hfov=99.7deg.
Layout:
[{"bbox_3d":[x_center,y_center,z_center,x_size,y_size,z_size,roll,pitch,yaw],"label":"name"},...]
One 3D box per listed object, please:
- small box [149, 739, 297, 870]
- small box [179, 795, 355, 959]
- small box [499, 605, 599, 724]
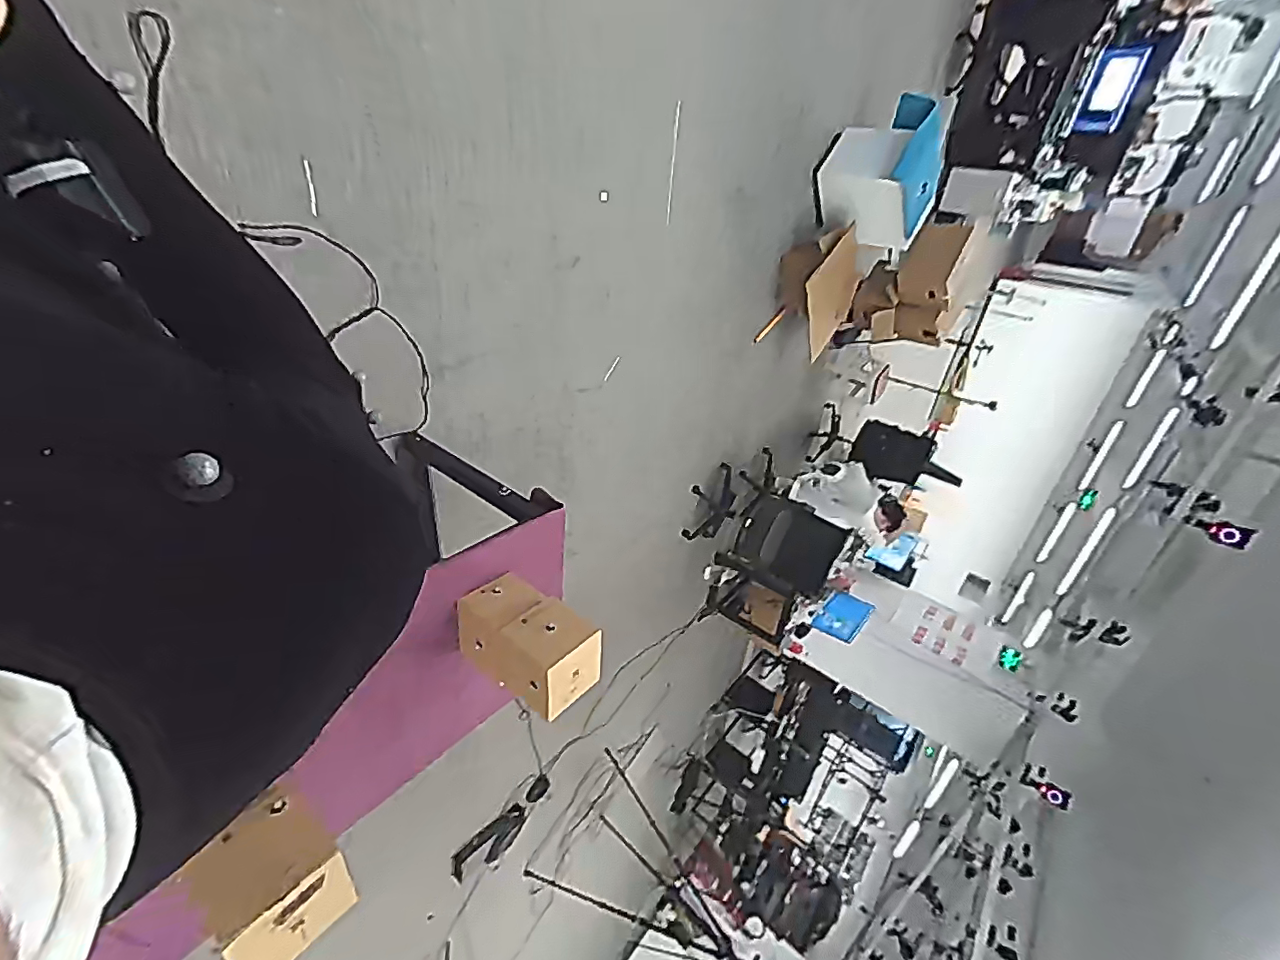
[{"bbox_3d":[-0.724,0.607,0.962,0.168,0.176,0.179,-28,134,-46],"label":"small box"},{"bbox_3d":[-0.594,0.652,0.870,0.168,0.176,0.179,-30,137,-45],"label":"small box"},{"bbox_3d":[-0.213,0.417,1.261,0.168,0.176,0.179,-28,133,-43],"label":"small box"}]
